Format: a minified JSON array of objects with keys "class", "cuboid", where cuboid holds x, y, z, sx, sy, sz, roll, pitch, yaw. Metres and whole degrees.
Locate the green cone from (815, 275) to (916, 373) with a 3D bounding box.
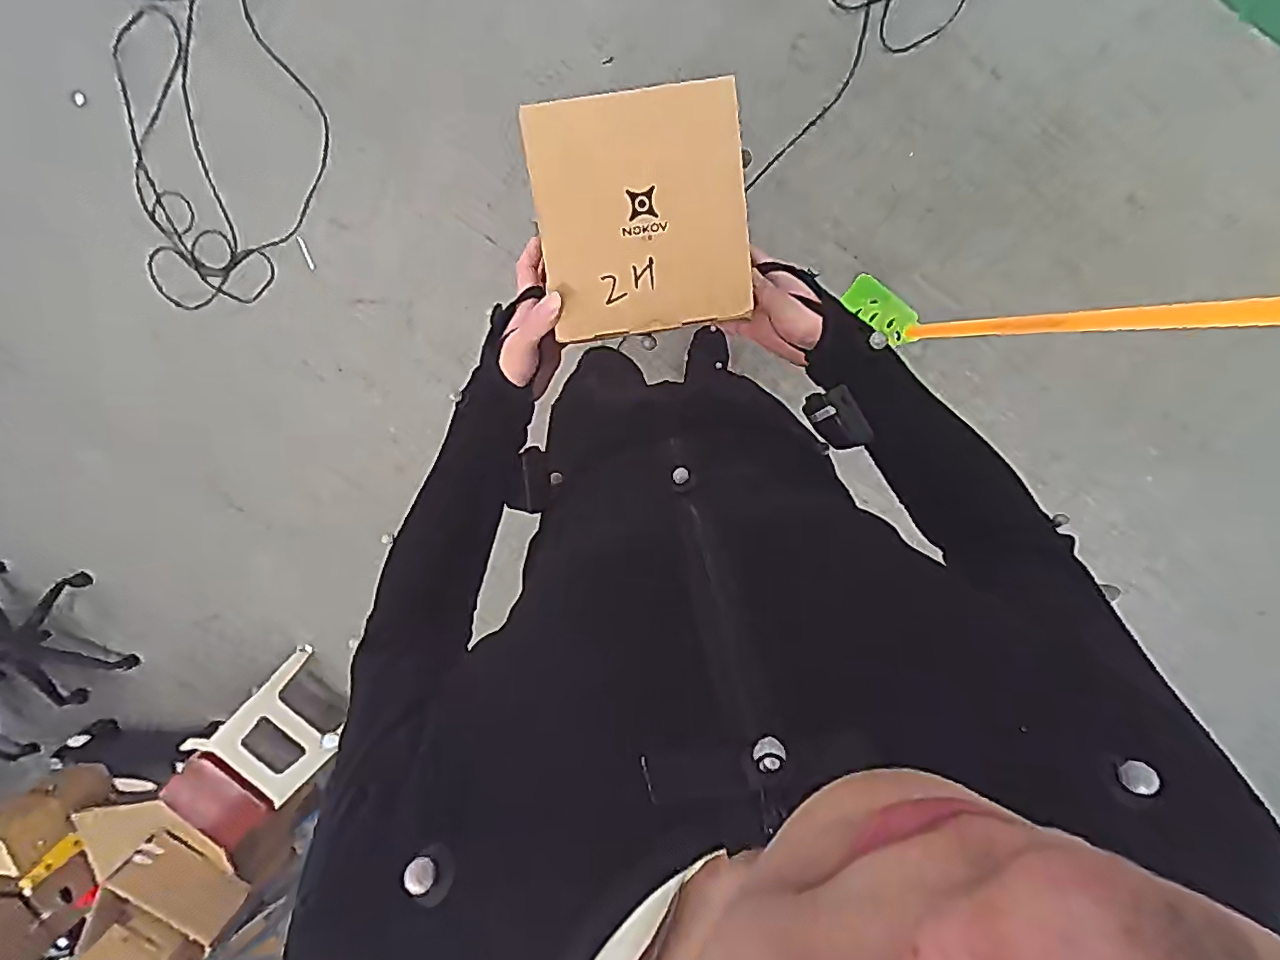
[{"class":"green cone","cuboid":[0.586,-0.369,1.298,0.202,0.368,0.200,36,108,-4]}]
